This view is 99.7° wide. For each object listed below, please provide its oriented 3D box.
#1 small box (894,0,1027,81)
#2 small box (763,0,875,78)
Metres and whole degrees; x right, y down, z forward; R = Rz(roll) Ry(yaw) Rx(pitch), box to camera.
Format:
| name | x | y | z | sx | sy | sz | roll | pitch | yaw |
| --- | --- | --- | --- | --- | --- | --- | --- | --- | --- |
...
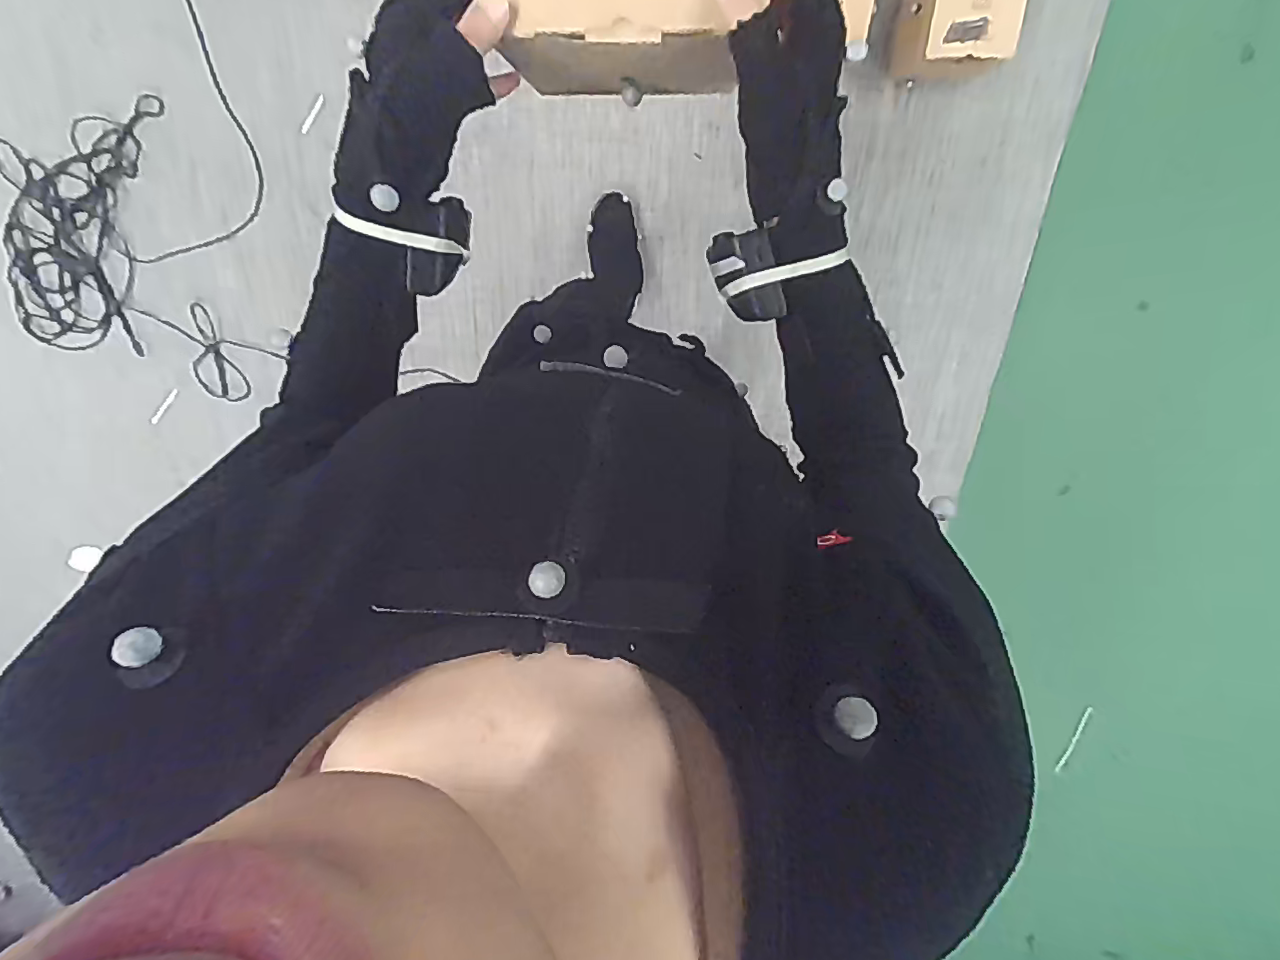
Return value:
| name | x | y | z | sx | sy | sz | roll | pitch | yaw |
| --- | --- | --- | --- | --- | --- | --- | --- | --- | --- |
| small box | 0.610 | -0.888 | 1.034 | 0.168 | 0.176 | 0.179 | 2 | 113 | 1 |
| small box | 0.342 | -0.906 | 1.037 | 0.168 | 0.176 | 0.179 | 5 | 114 | -1 |
